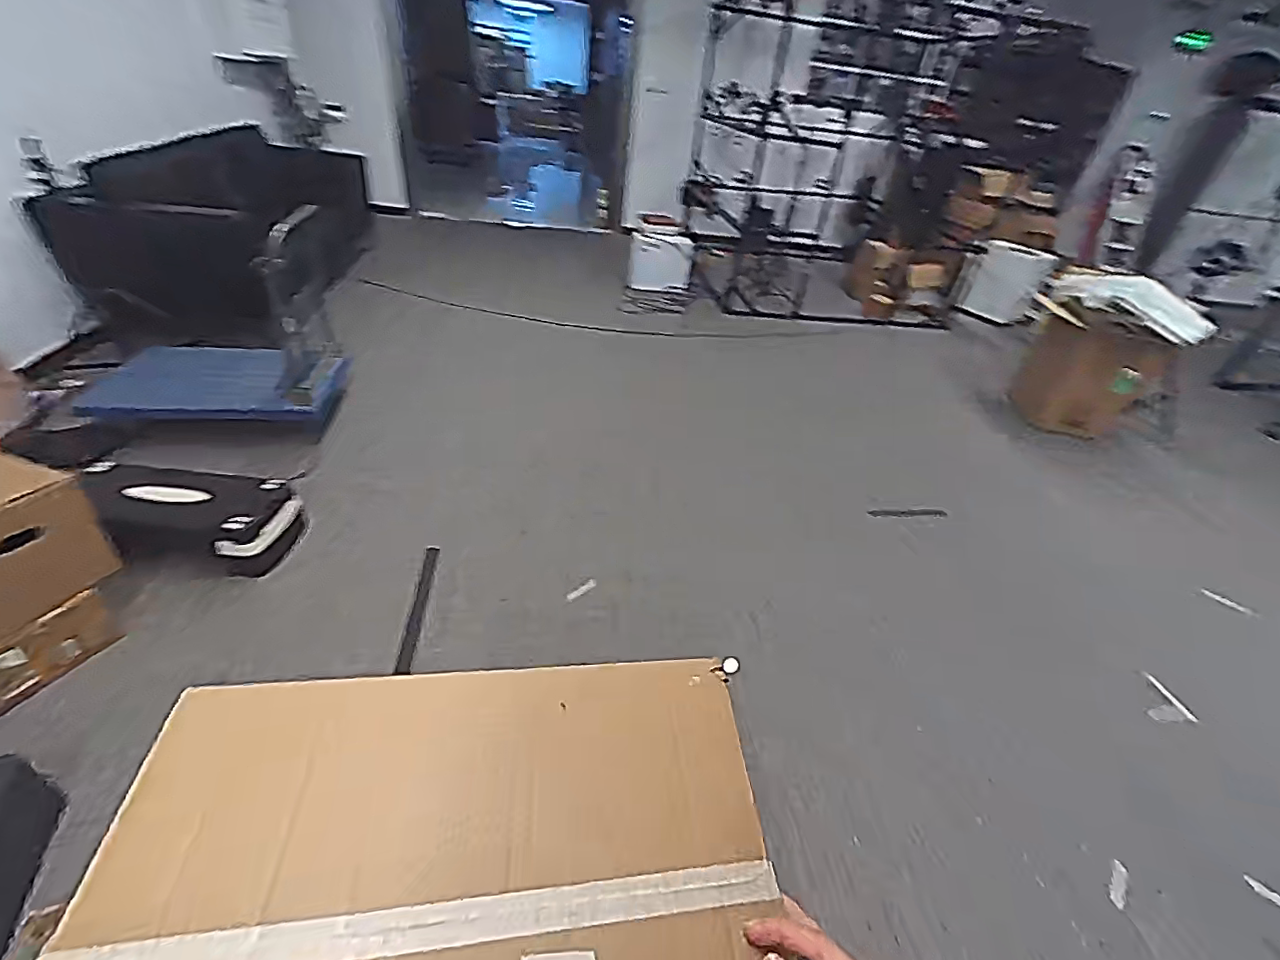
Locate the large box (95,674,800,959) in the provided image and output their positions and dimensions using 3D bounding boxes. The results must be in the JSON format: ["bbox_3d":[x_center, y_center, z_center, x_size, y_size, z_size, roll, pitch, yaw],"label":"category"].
[{"bbox_3d":[-0.120,0.377,0.419,0.408,0.320,0.320,1,44,-9],"label":"large box"}]
